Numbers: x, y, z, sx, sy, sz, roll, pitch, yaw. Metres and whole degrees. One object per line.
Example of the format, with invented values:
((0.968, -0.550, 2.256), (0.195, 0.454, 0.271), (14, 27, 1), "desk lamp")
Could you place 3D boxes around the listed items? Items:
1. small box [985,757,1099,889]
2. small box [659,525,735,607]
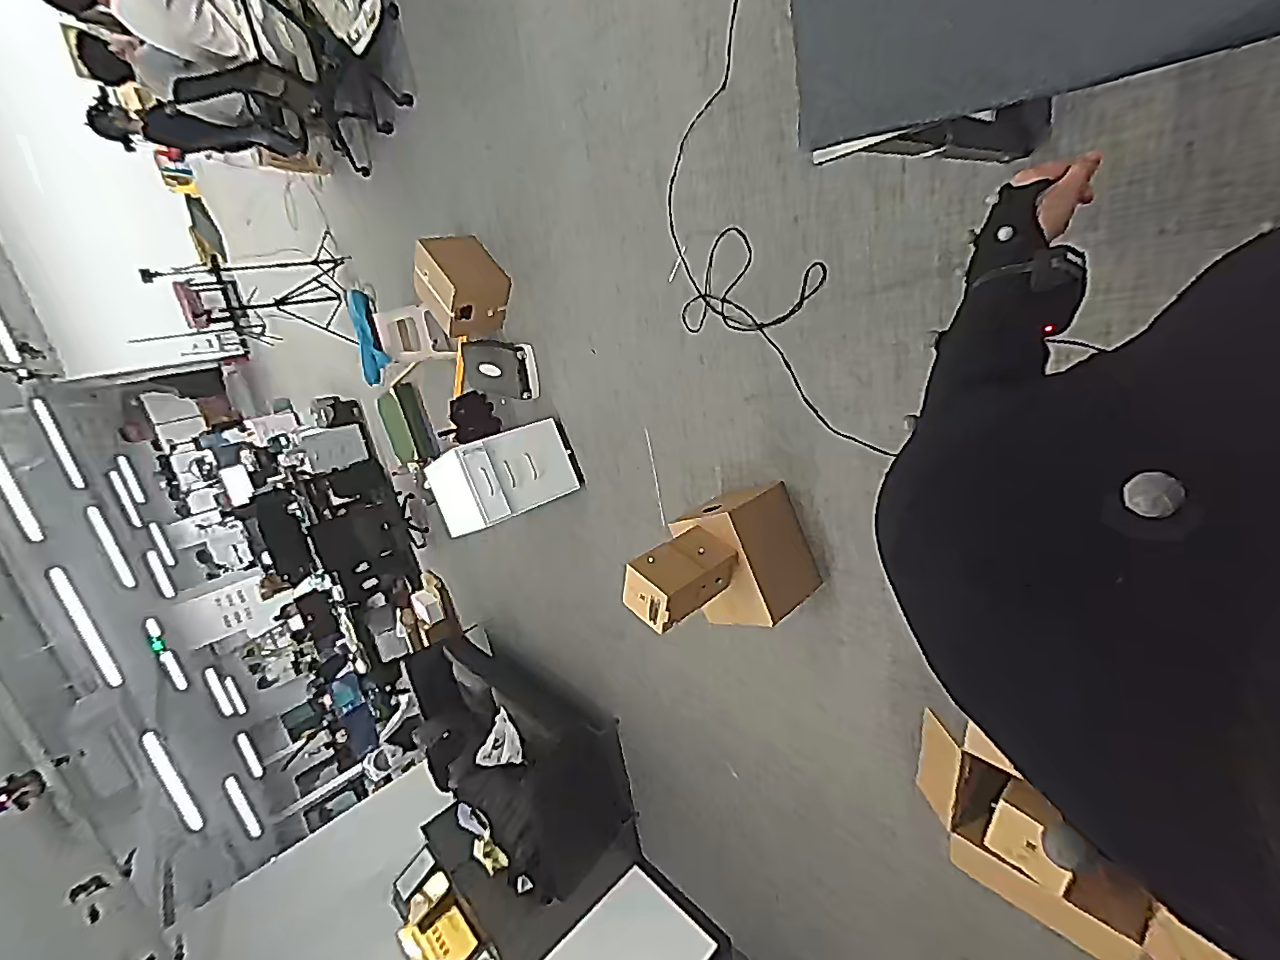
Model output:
((0.981, 0.824, 1.319), (0.168, 0.176, 0.179), (25, 127, 45), "small box")
((0.190, 0.274, 1.776), (0.179, 0.176, 0.168), (32, 131, 33), "small box")
